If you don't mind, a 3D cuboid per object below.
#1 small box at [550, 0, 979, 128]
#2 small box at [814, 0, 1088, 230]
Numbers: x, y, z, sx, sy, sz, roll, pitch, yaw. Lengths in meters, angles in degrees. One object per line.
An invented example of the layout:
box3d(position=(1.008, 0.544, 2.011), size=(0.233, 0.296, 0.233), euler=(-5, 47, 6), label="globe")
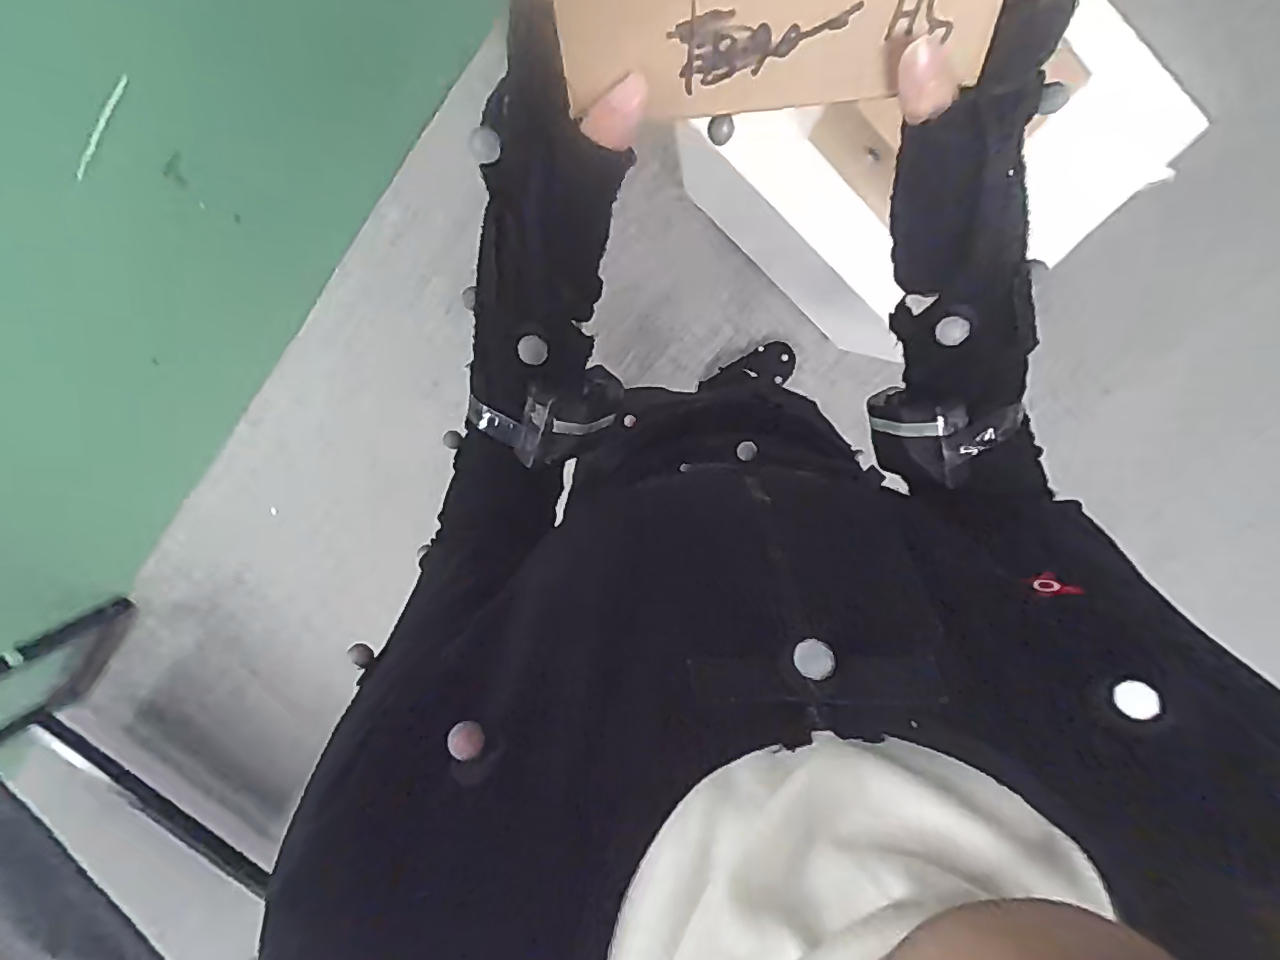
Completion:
box3d(position=(0.038, -0.277, 0.229), size=(0.168, 0.176, 0.179), euler=(-7, 132, 5), label="small box")
box3d(position=(0.323, -0.410, 0.605), size=(0.179, 0.176, 0.168), euler=(45, 106, -7), label="small box")
